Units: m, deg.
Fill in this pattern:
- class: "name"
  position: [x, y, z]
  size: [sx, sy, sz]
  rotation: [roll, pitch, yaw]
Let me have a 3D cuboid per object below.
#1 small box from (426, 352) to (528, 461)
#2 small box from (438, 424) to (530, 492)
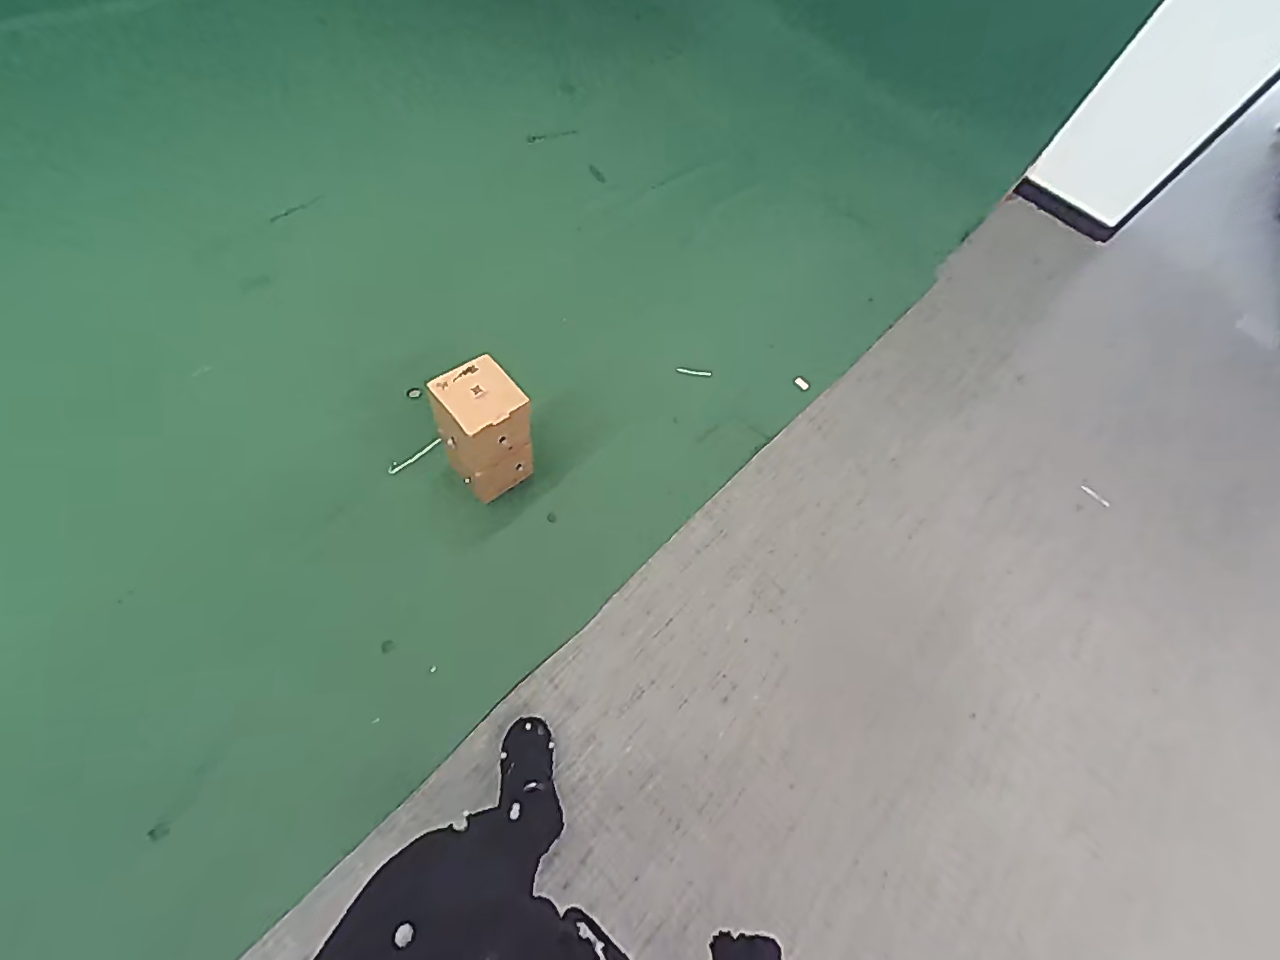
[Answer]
- class: "small box"
  position: [-0.384, -0.166, 1.301]
  size: [0.168, 0.176, 0.179]
  rotation: [-35, 75, -26]
- class: "small box"
  position: [-0.404, -0.090, 1.423]
  size: [0.168, 0.176, 0.179]
  rotation: [-34, 73, -26]
